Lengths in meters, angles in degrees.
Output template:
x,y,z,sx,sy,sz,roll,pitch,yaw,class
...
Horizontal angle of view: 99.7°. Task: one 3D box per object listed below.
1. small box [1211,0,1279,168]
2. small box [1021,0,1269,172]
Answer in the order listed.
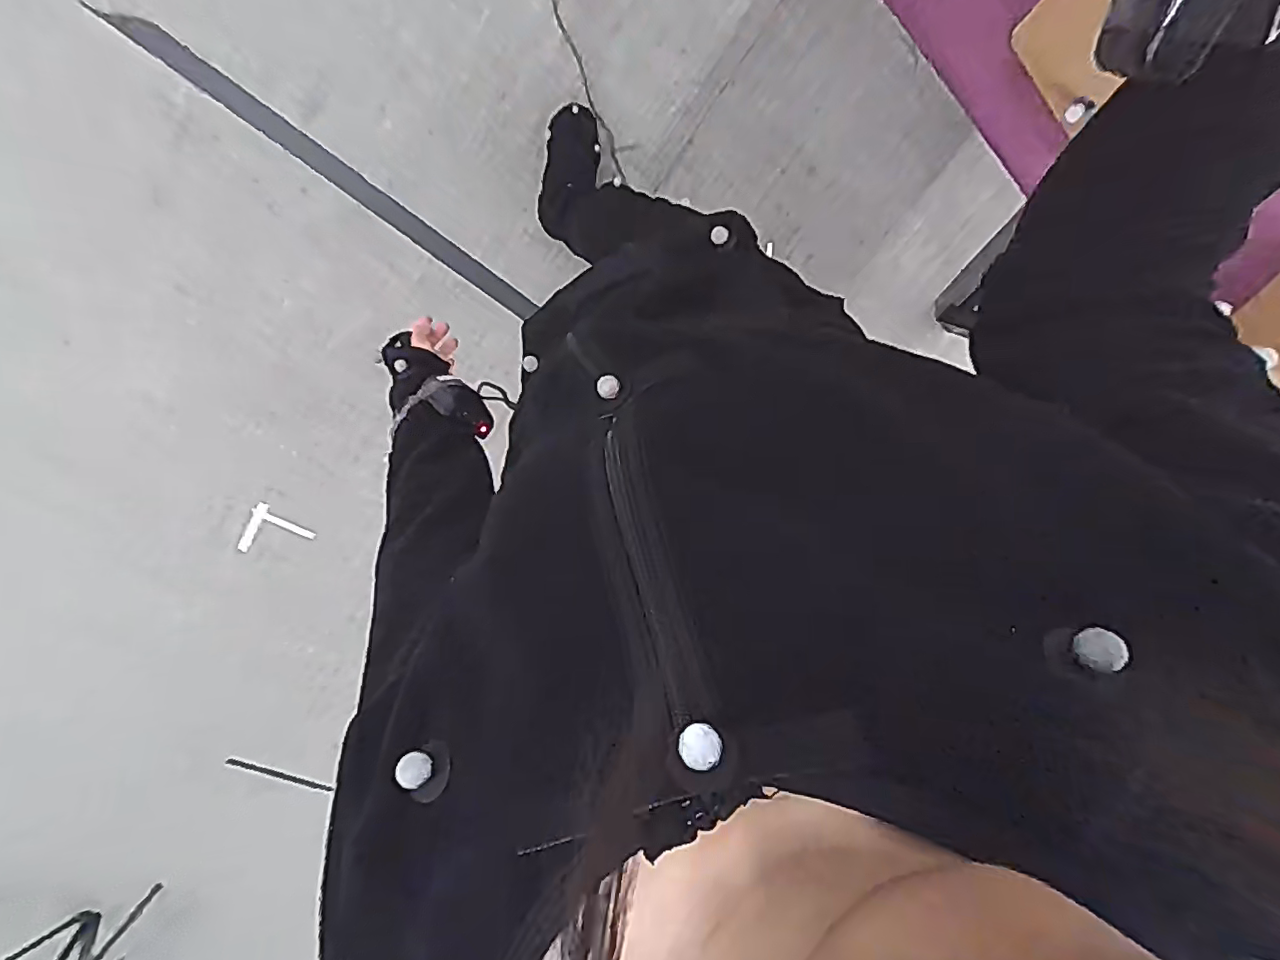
x,y,z,sx,sy,sz,roll,pitch,yaw,class
0.494,-0.308,0.305,0.168,0.176,0.179,35,108,-21,small box
0.478,-0.389,0.448,0.179,0.176,0.168,34,109,-22,small box
